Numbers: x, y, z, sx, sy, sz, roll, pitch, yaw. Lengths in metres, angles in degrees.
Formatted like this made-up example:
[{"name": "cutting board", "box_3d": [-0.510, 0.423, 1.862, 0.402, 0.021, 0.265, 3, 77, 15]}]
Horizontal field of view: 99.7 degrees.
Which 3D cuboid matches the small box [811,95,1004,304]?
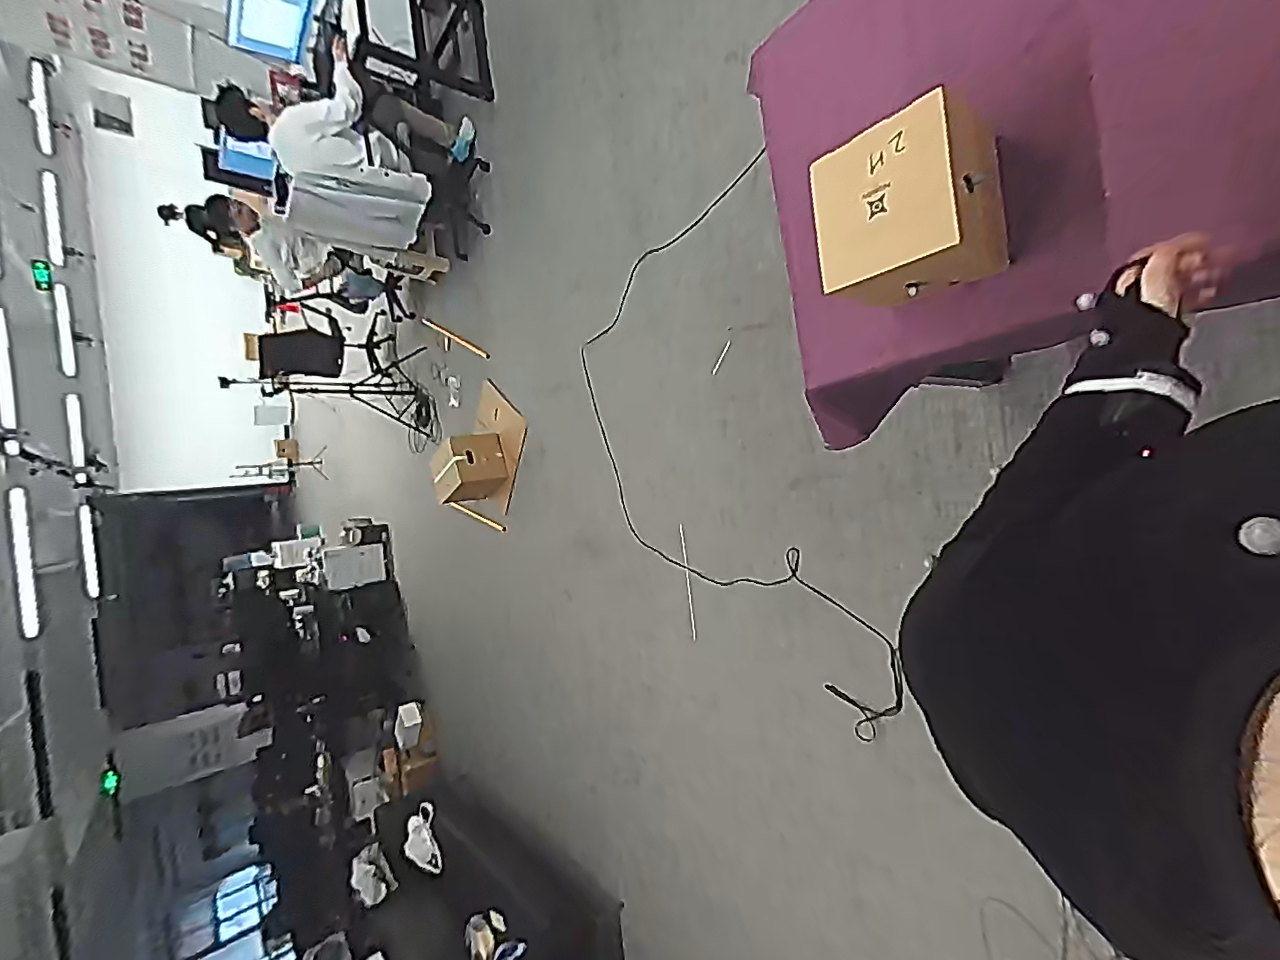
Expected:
[{"name": "small box", "box_3d": [0.347, -0.338, 0.700, 0.168, 0.176, 0.179, -7, 89, 50]}]
